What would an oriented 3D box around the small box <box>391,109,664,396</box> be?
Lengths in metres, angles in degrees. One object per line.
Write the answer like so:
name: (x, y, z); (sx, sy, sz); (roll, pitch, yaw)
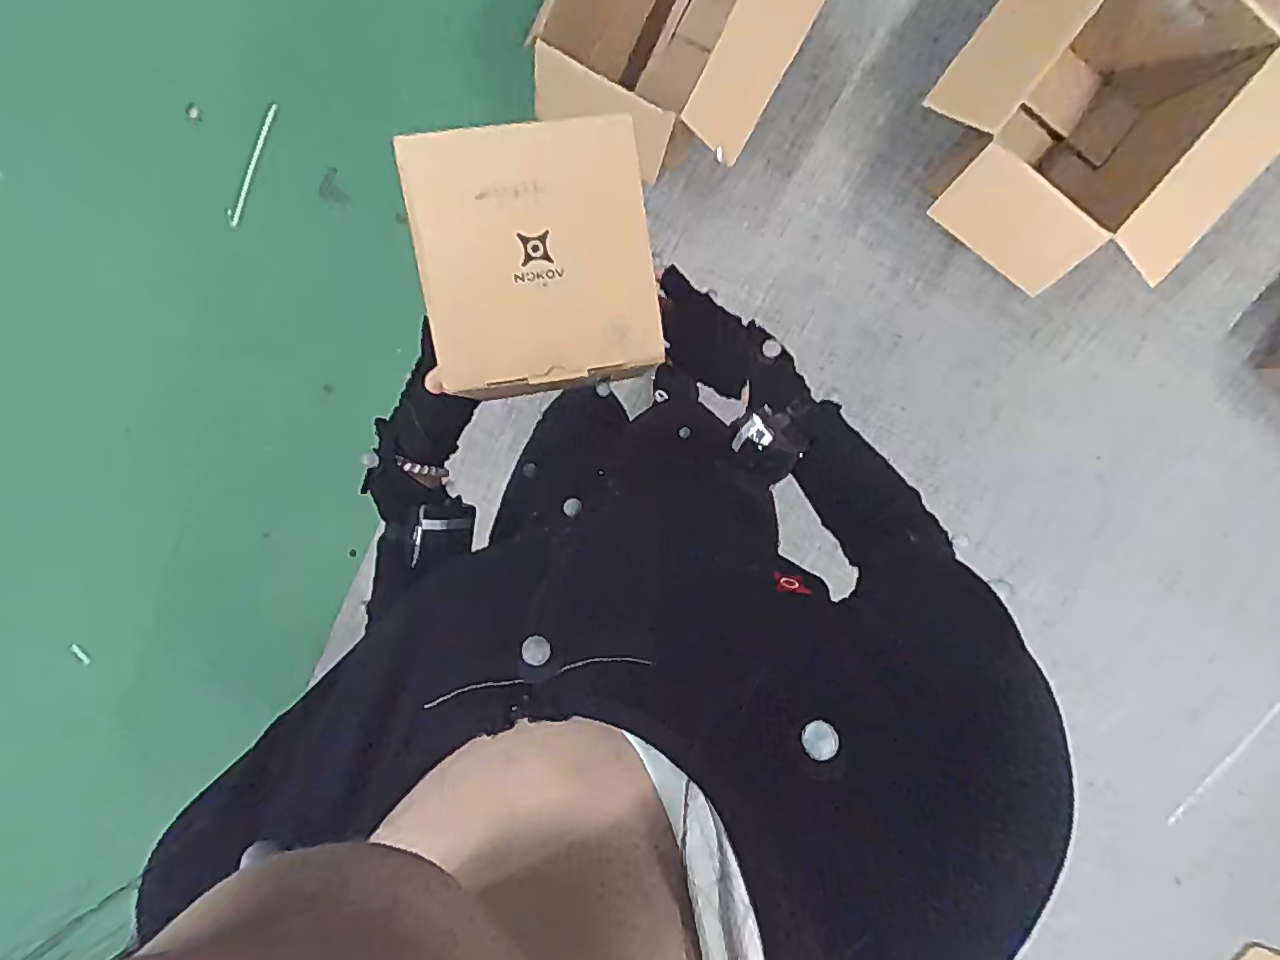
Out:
small box: (-0.082, -0.169, 0.456); (0.168, 0.176, 0.179); (-11, 98, -6)
